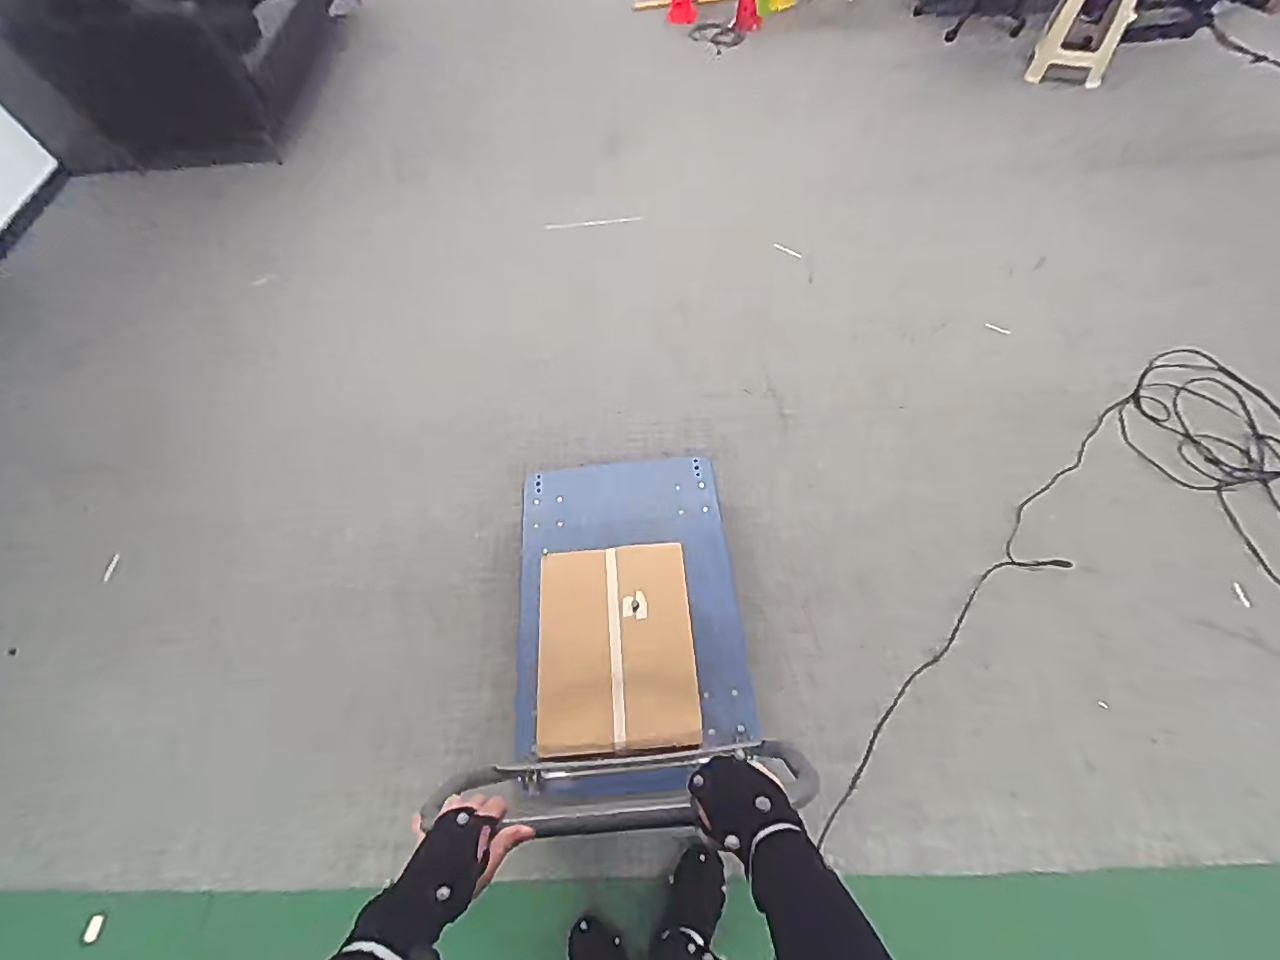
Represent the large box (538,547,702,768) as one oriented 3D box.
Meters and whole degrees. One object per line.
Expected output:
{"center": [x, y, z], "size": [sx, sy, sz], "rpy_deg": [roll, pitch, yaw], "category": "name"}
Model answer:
{"center": [-0.045, 0.411, 1.237], "size": [0.320, 0.320, 0.408], "rpy_deg": [-5, 59, 0], "category": "large box"}
